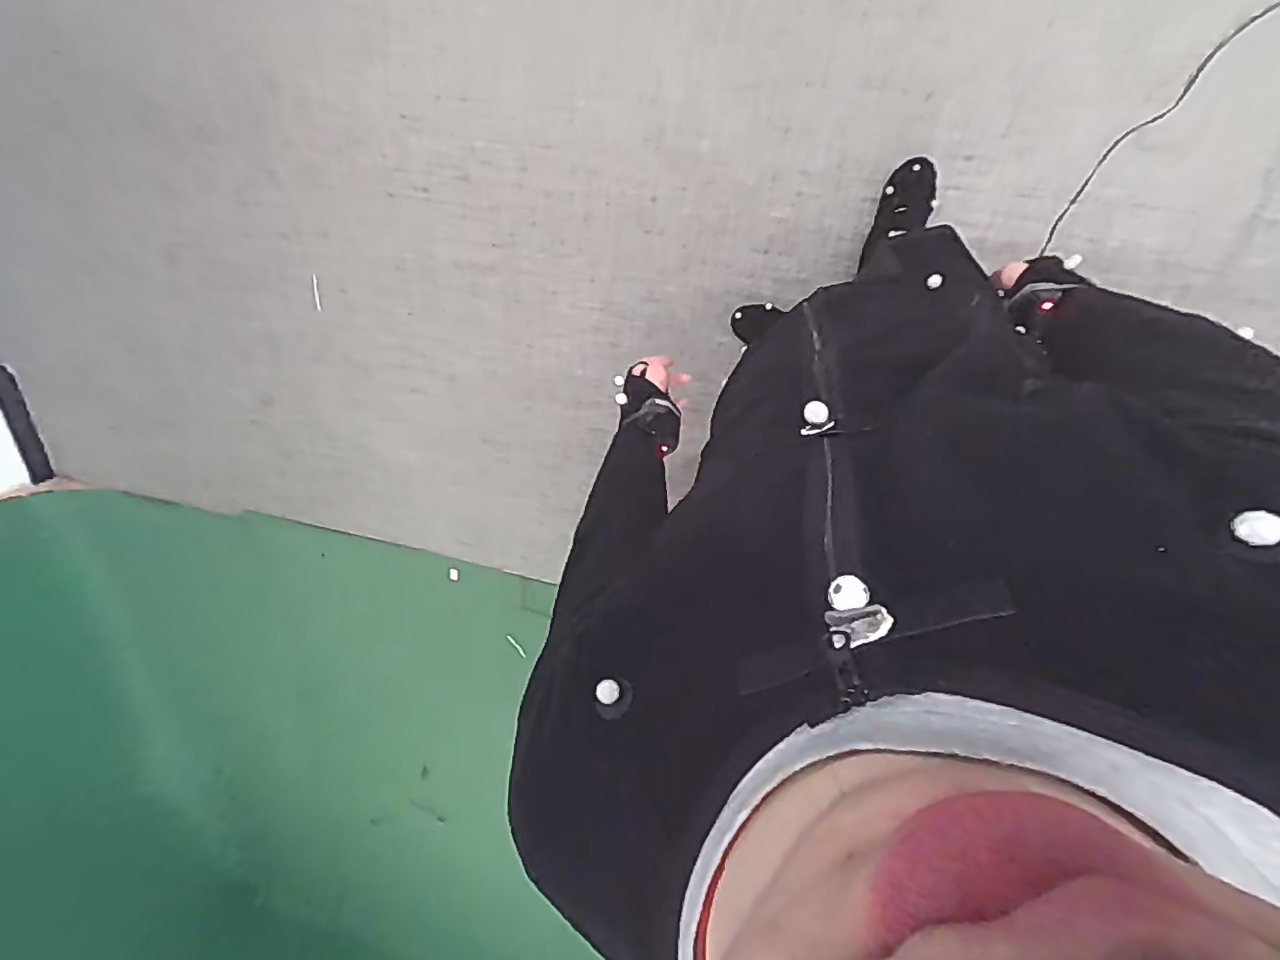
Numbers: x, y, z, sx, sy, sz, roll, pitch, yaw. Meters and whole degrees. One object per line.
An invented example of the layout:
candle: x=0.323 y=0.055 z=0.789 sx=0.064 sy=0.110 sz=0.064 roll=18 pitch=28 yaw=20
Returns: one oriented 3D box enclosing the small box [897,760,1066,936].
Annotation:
small box: x=0.564 y=0.616 z=0.923 sx=0.179 sy=0.176 sz=0.168 roll=10 pitch=115 yaw=11
